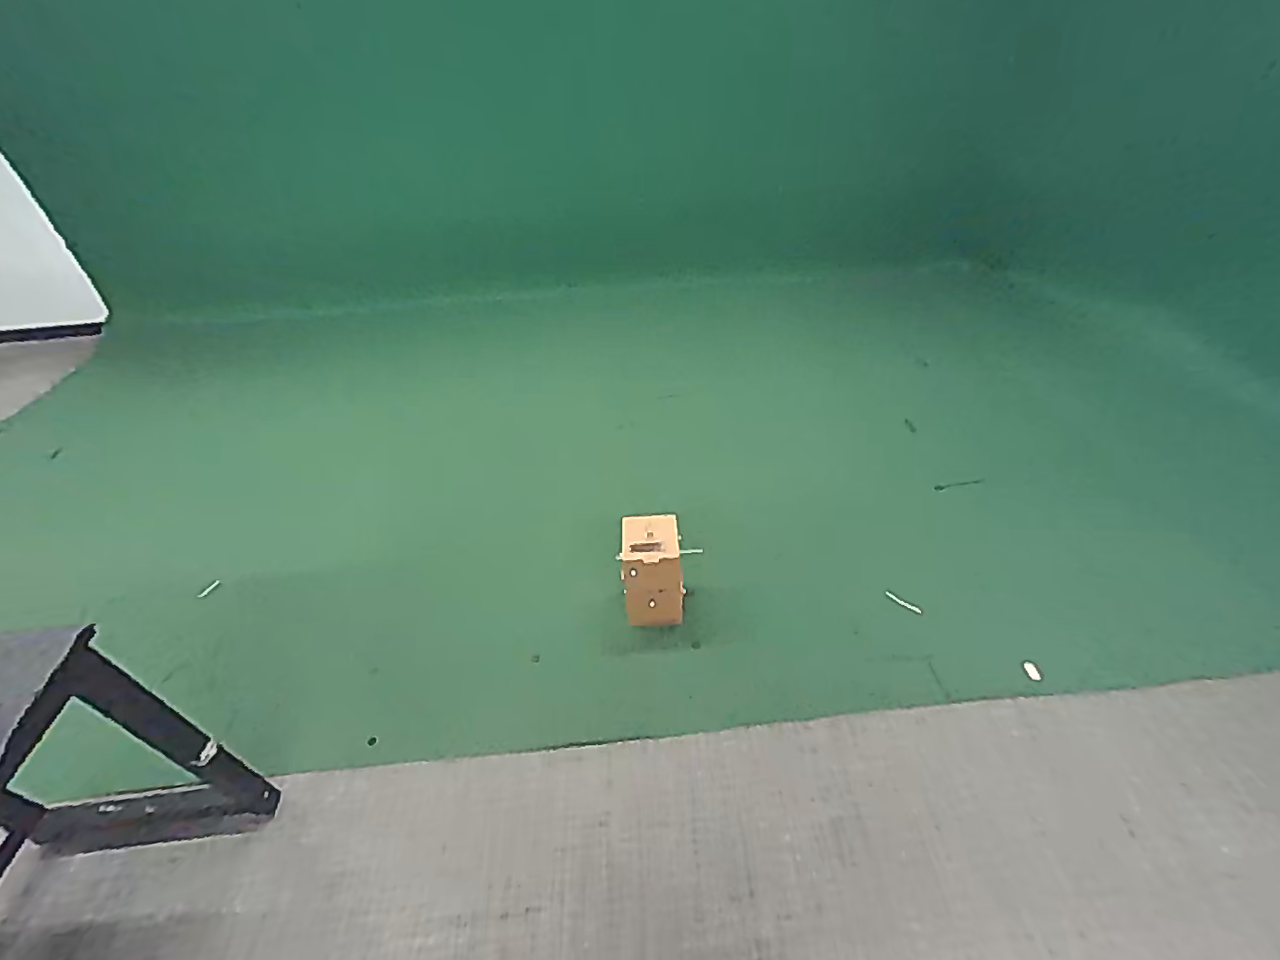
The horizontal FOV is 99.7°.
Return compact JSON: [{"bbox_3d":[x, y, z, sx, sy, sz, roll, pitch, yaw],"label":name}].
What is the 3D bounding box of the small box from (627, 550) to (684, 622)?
[{"bbox_3d":[0.049,0.343,1.744,0.179,0.176,0.168,-3,42,1],"label":"small box"}]
